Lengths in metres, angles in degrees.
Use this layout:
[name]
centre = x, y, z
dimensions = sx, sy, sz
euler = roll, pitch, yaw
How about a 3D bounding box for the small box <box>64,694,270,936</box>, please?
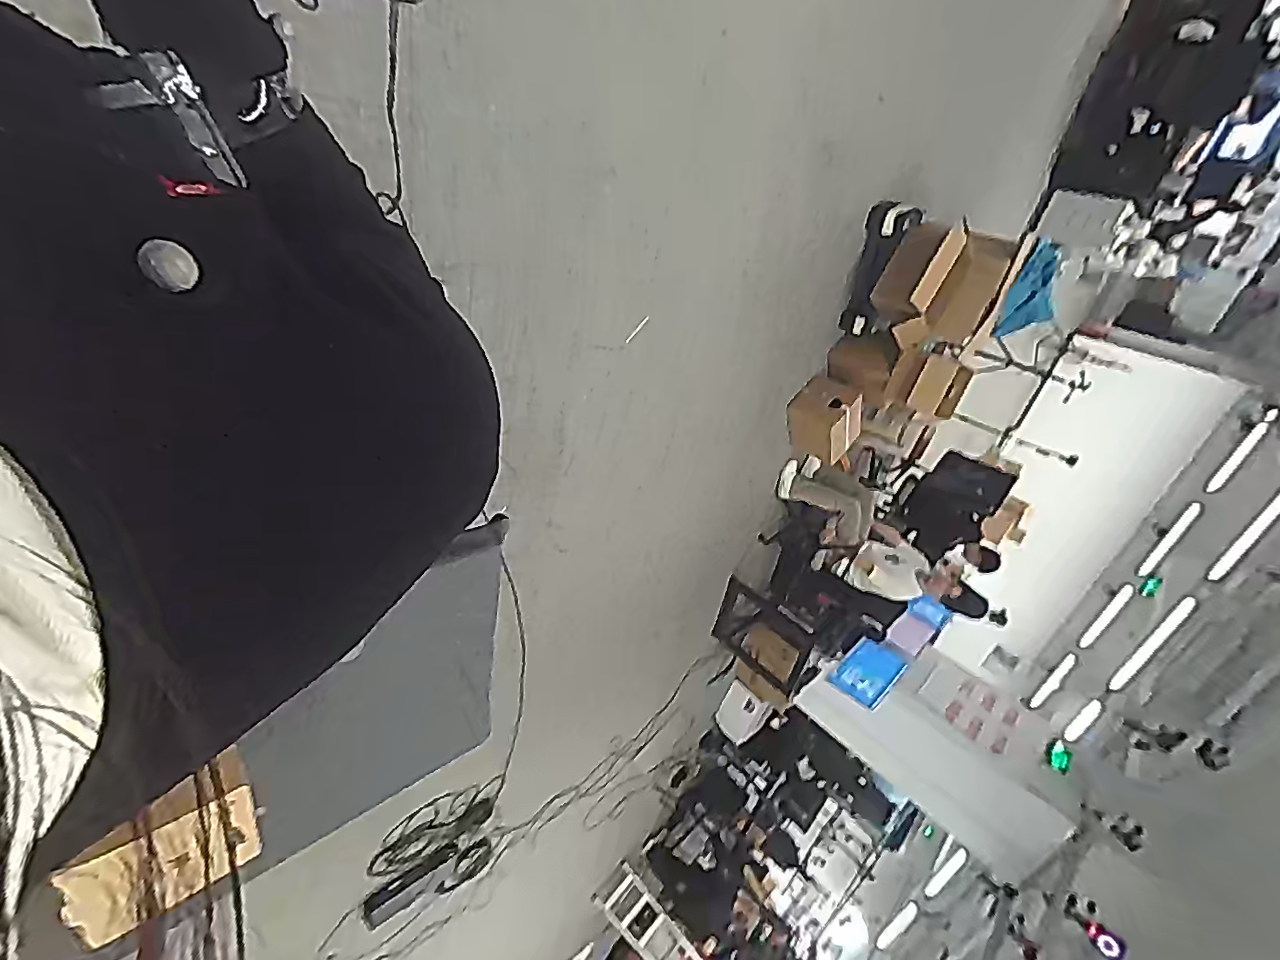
[small box]
centre = -0.623, 0.428, 0.718
dimensions = 0.179, 0.176, 0.168
euler = -16, 130, -43
